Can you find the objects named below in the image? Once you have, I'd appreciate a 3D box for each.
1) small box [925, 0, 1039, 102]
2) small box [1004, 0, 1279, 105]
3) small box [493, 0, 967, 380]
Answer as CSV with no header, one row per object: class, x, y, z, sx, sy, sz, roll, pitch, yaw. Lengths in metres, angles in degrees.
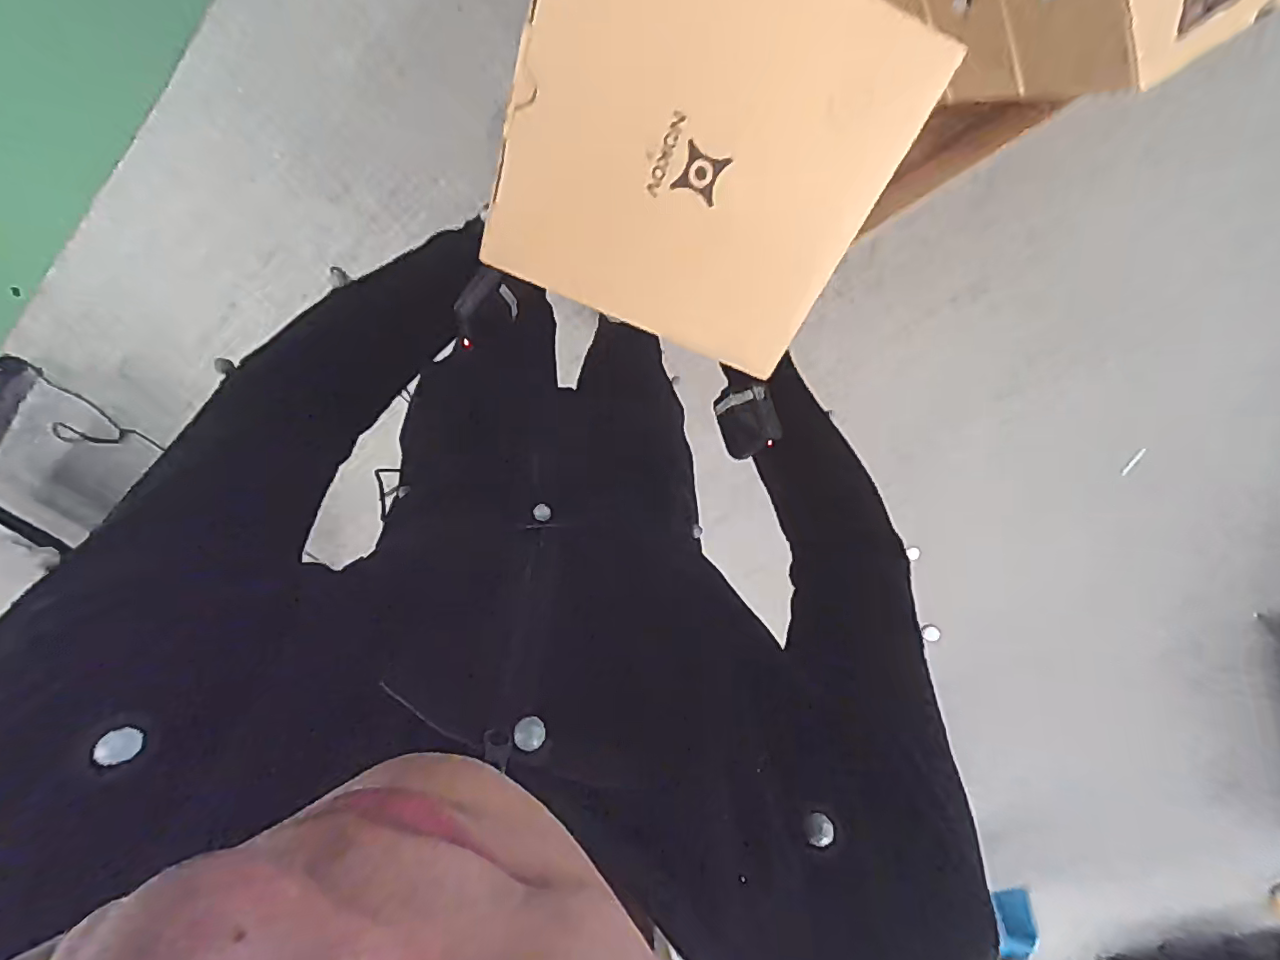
small box,0.426,-0.537,0.573,0.168,0.176,0.179,-27,119,19
small box,0.423,-0.444,0.437,0.168,0.176,0.179,-28,119,19
small box,0.035,-0.192,0.320,0.179,0.176,0.168,19,126,-10
